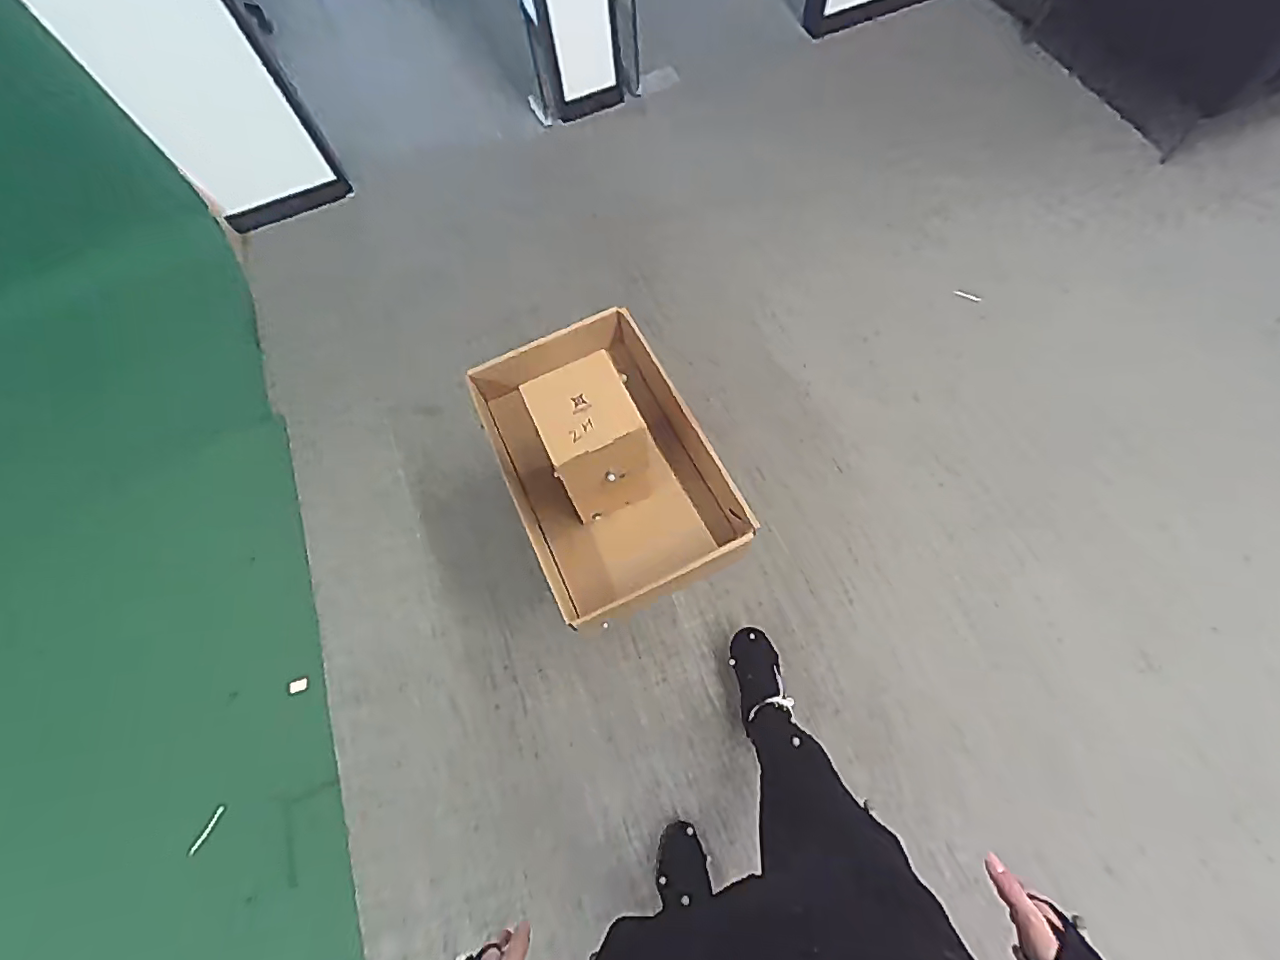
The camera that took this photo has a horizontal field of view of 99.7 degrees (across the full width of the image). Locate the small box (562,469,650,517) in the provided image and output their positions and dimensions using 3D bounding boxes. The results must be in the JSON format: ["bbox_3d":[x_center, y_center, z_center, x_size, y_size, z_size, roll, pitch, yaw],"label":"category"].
[{"bbox_3d":[-0.087,-0.038,1.131,0.168,0.176,0.179,-24,66,-6],"label":"small box"}]

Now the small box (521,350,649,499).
[{"bbox_3d":[-0.093,-0.094,0.975,0.168,0.176,0.179,-25,67,-6],"label":"small box"}]
